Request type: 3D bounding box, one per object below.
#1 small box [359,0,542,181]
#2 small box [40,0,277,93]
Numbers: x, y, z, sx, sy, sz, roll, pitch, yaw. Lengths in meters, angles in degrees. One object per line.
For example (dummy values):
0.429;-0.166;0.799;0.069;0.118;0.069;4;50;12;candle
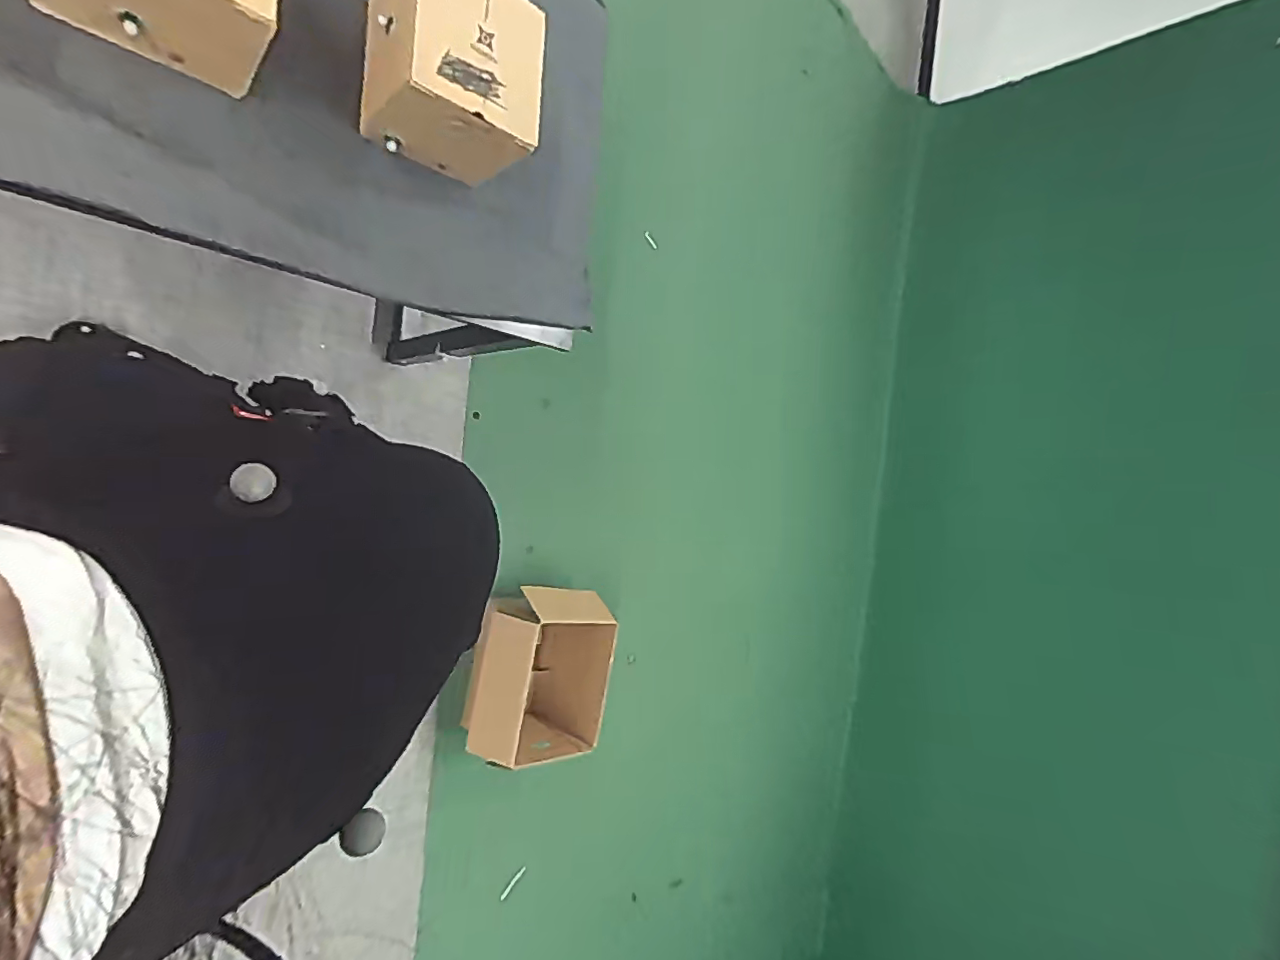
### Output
-0.248;-0.523;0.700;0.168;0.176;0.179;2;93;-46;small box
-0.449;-0.517;0.501;0.168;0.176;0.179;2;94;-46;small box
